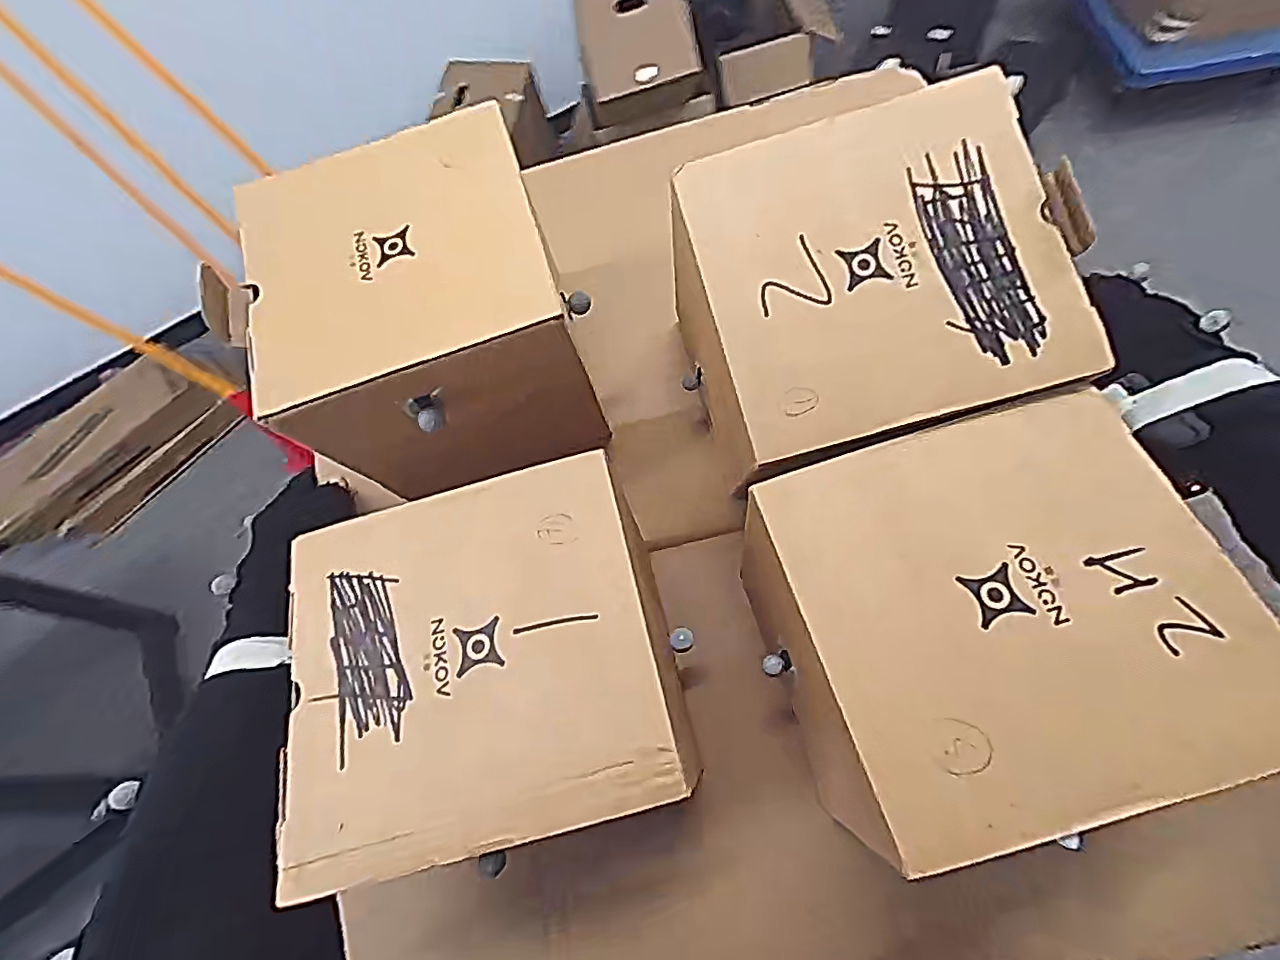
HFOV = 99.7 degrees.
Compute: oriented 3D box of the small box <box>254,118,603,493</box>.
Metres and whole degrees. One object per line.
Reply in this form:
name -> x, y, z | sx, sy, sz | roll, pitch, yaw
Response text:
small box -> -0.134, -0.107, 0.396 | 0.179, 0.176, 0.168 | -18, 71, 2
